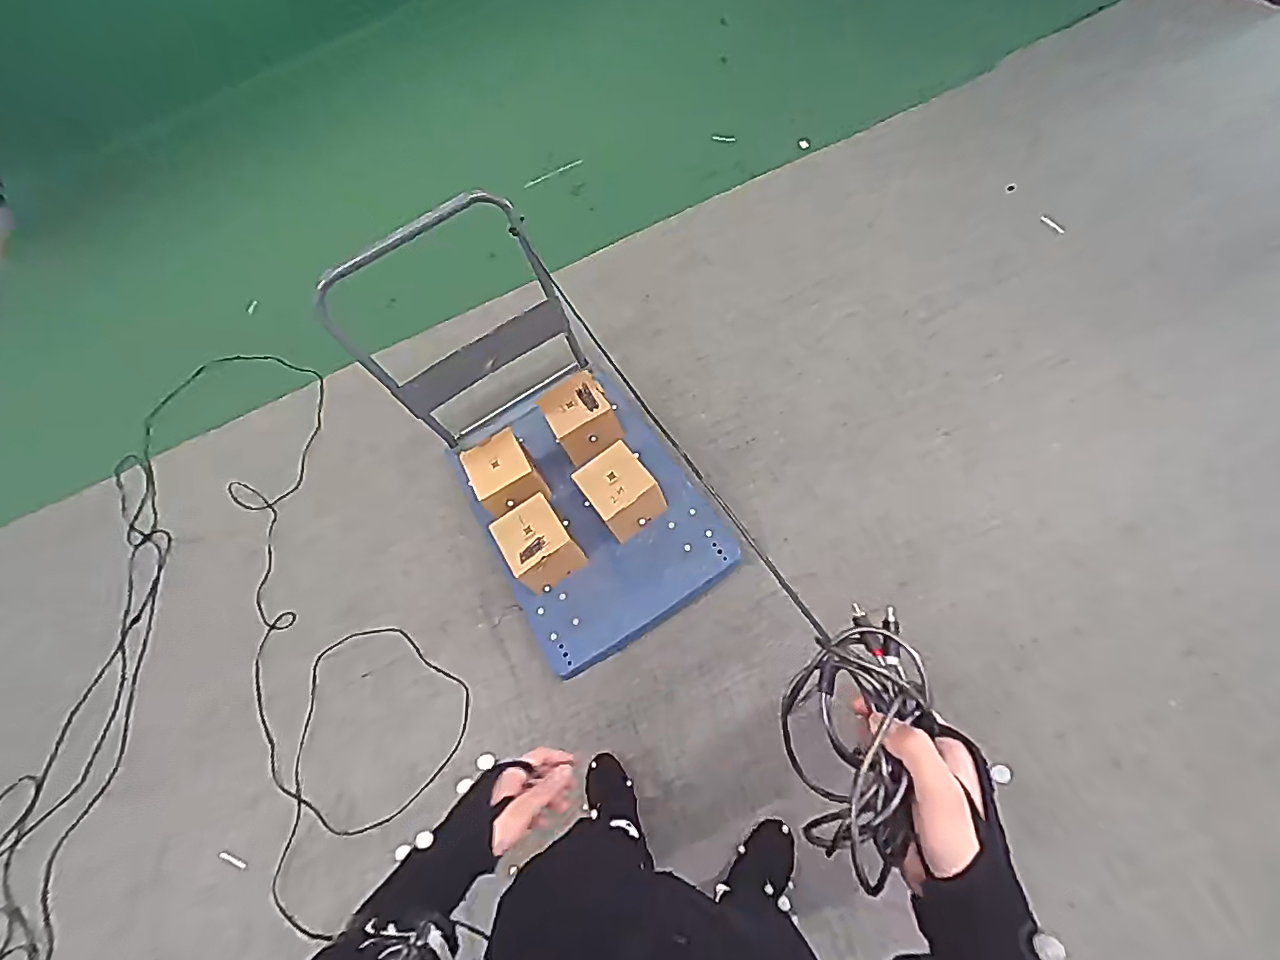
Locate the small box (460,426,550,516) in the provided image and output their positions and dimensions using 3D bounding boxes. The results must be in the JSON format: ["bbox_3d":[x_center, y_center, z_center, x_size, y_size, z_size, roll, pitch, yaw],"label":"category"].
[{"bbox_3d":[-0.383,-0.015,1.558,0.168,0.176,0.179,-31,60,-4],"label":"small box"}]

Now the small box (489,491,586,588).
[{"bbox_3d":[-0.266,0.168,1.436,0.168,0.176,0.179,-34,60,-6],"label":"small box"}]

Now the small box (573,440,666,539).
[{"bbox_3d":[-0.052,0.031,1.457,0.168,0.176,0.179,-36,61,-6],"label":"small box"}]
